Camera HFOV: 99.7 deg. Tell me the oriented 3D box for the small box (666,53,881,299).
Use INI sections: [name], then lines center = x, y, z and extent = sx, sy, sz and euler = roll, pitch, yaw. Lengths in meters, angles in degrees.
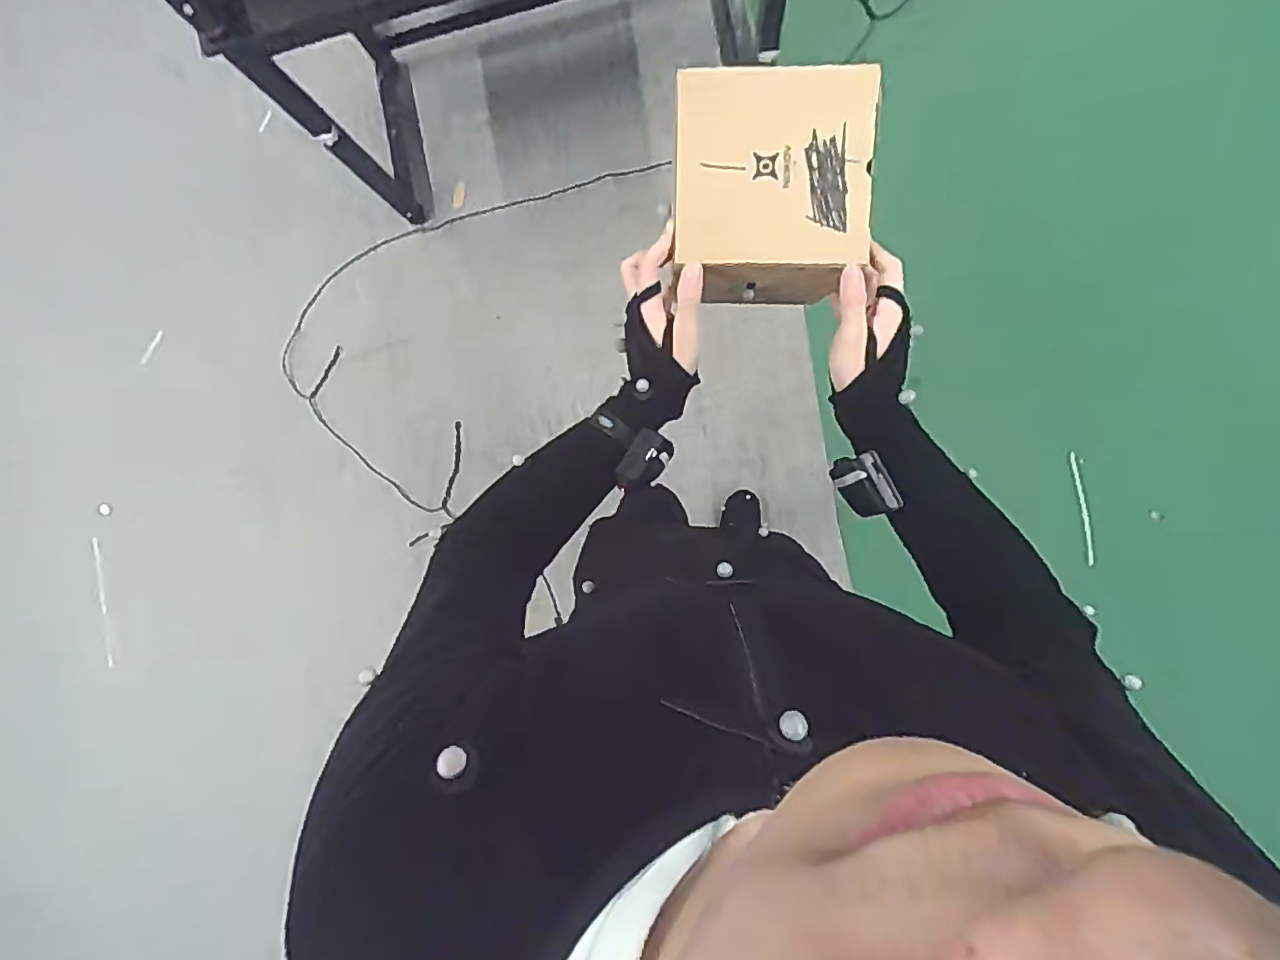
[small box]
center = 0.116, -0.284, 0.541
extent = 0.179, 0.176, 0.168
euler = 1, 96, 3
